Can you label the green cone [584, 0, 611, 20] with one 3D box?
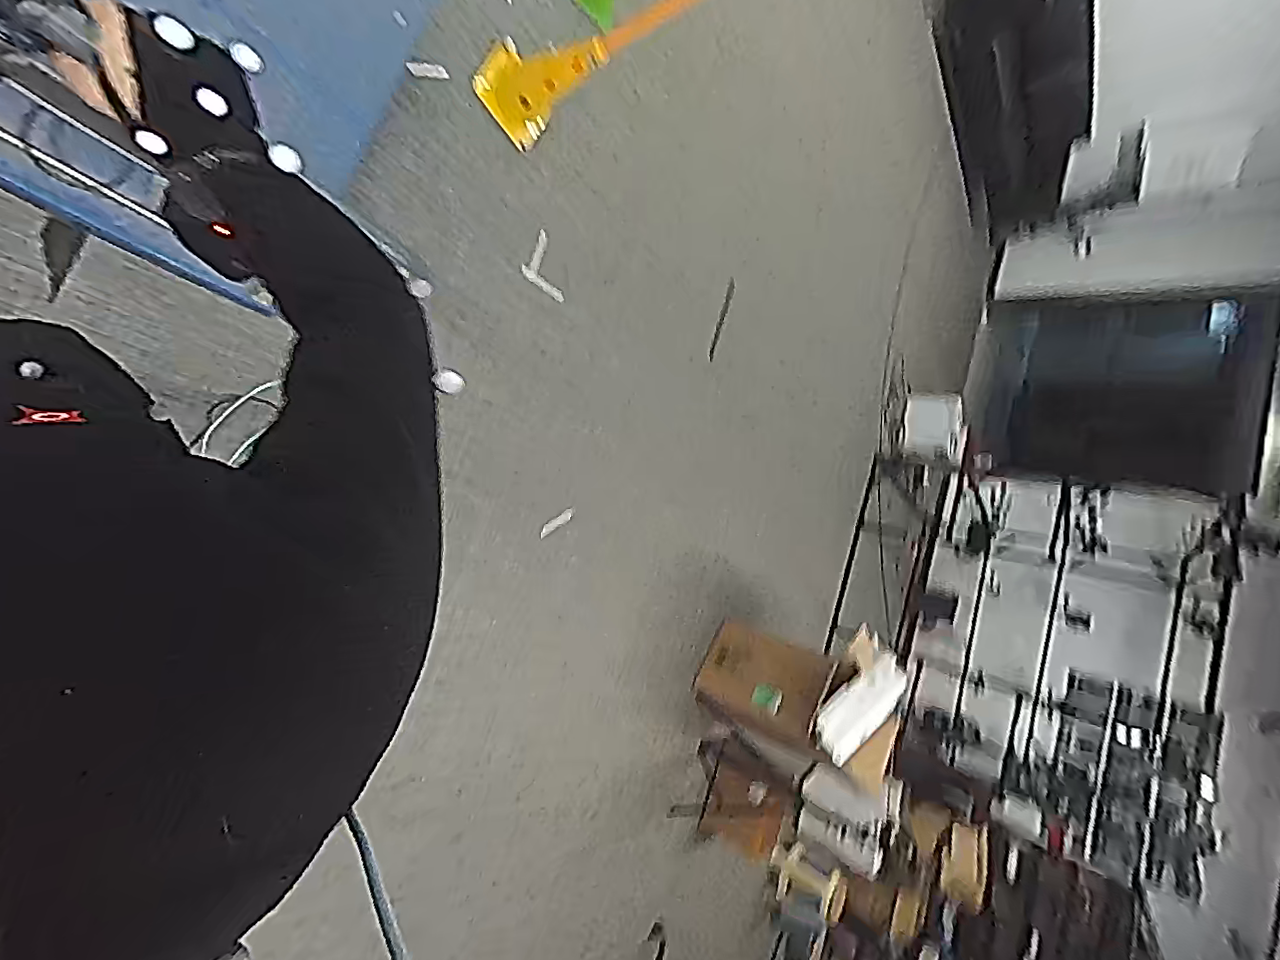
[{"bbox_3d":[-0.023,-1.531,1.531,0.200,0.368,0.202,7,95,-50],"label":"green cone"}]
